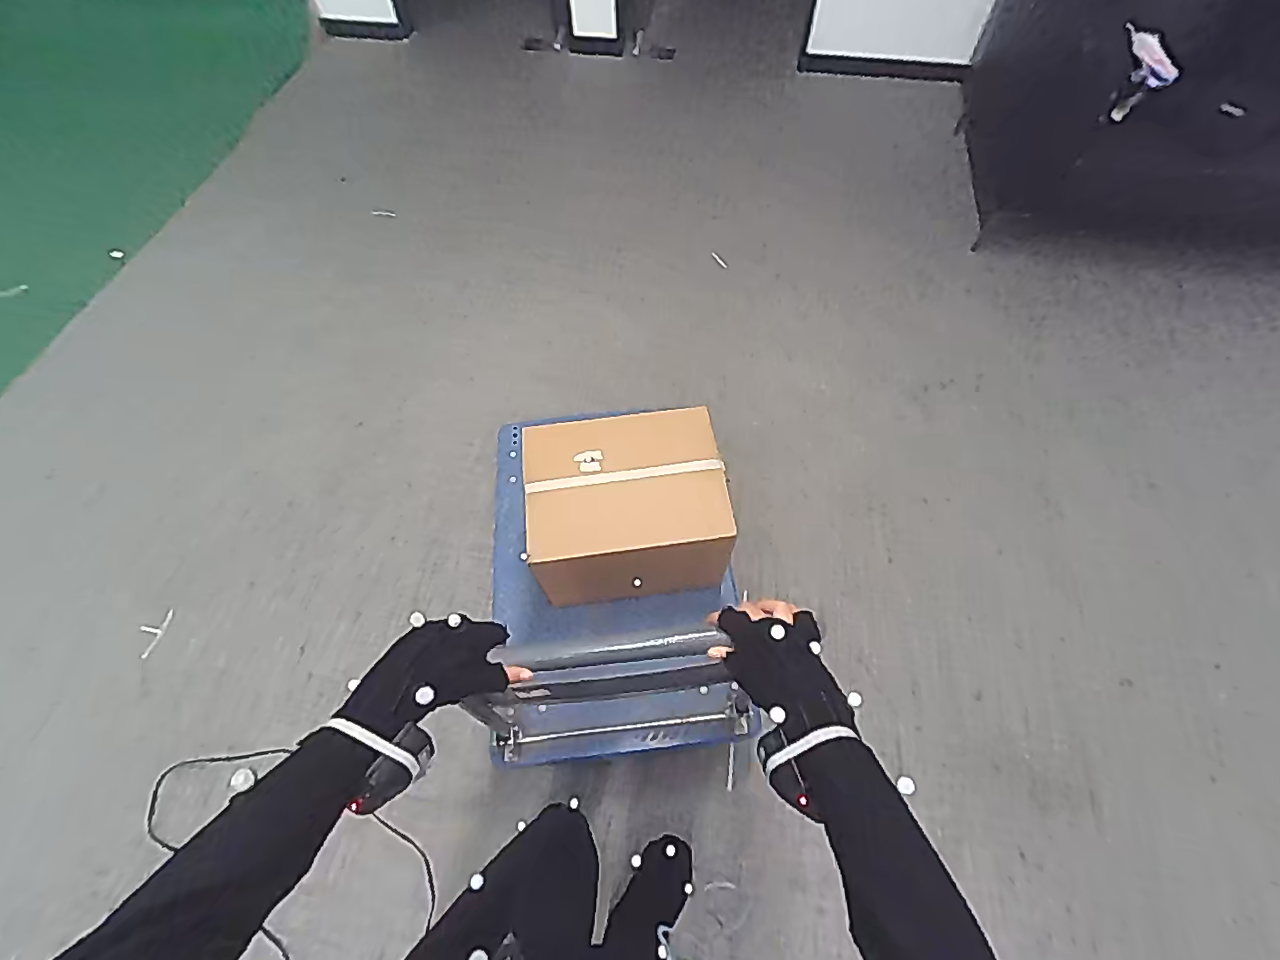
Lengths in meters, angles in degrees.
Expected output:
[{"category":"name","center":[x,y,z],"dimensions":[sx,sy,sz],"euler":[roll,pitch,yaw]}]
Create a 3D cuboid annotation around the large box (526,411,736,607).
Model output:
[{"category":"large box","center":[-0.023,0.079,1.242],"dimensions":[0.408,0.320,0.320],"euler":[-8,60,-1]}]
